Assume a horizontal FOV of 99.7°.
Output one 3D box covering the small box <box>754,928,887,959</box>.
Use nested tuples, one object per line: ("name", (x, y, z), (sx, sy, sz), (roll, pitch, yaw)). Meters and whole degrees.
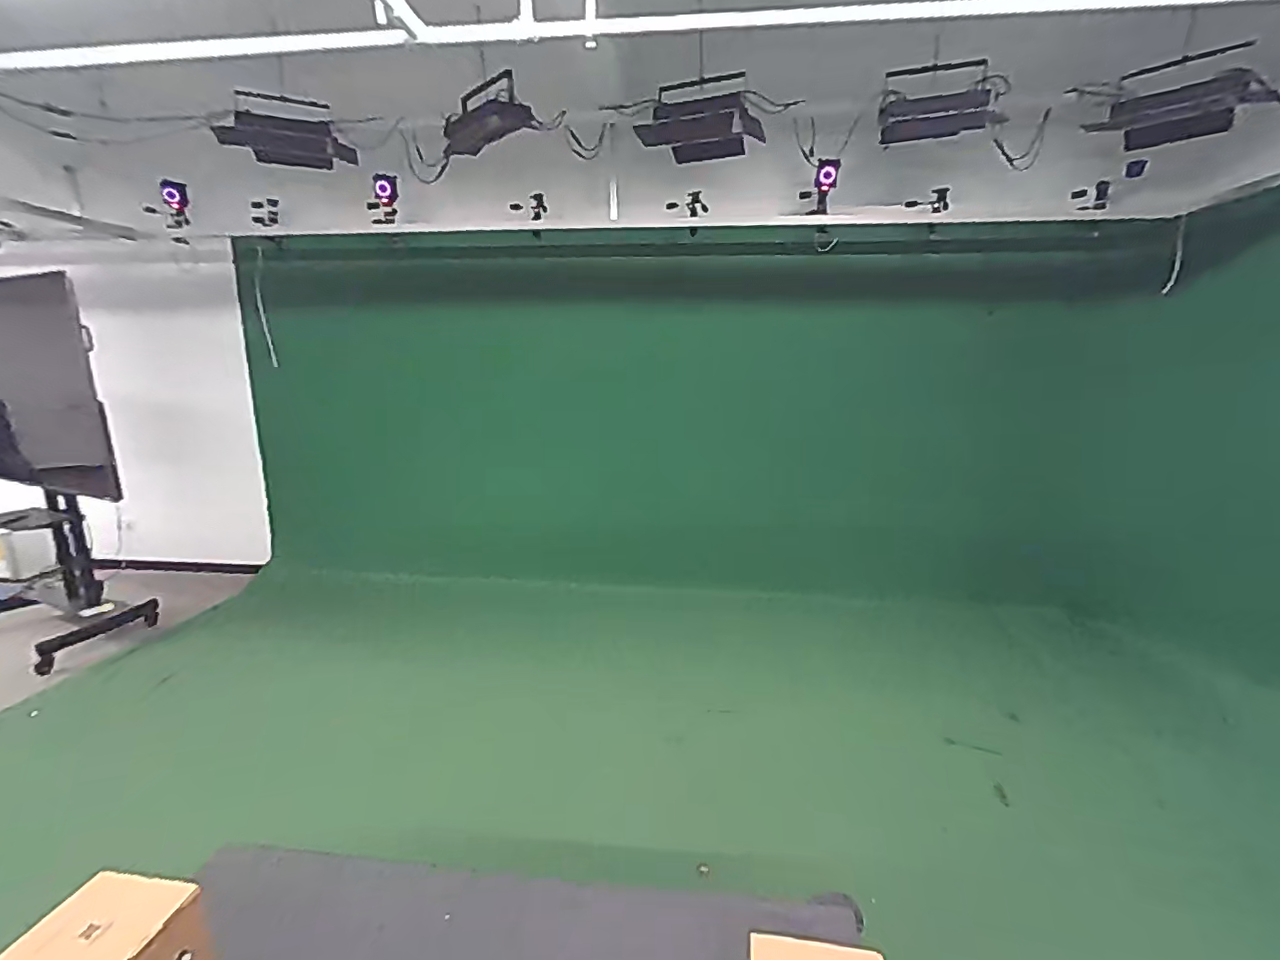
("small box", (0.228, 0.724, 0.678), (0.179, 0.176, 0.168), (2, 13, 10))

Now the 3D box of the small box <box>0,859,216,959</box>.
("small box", (-0.748, 0.689, 0.764), (0.179, 0.176, 0.168), (2, 10, 9))
